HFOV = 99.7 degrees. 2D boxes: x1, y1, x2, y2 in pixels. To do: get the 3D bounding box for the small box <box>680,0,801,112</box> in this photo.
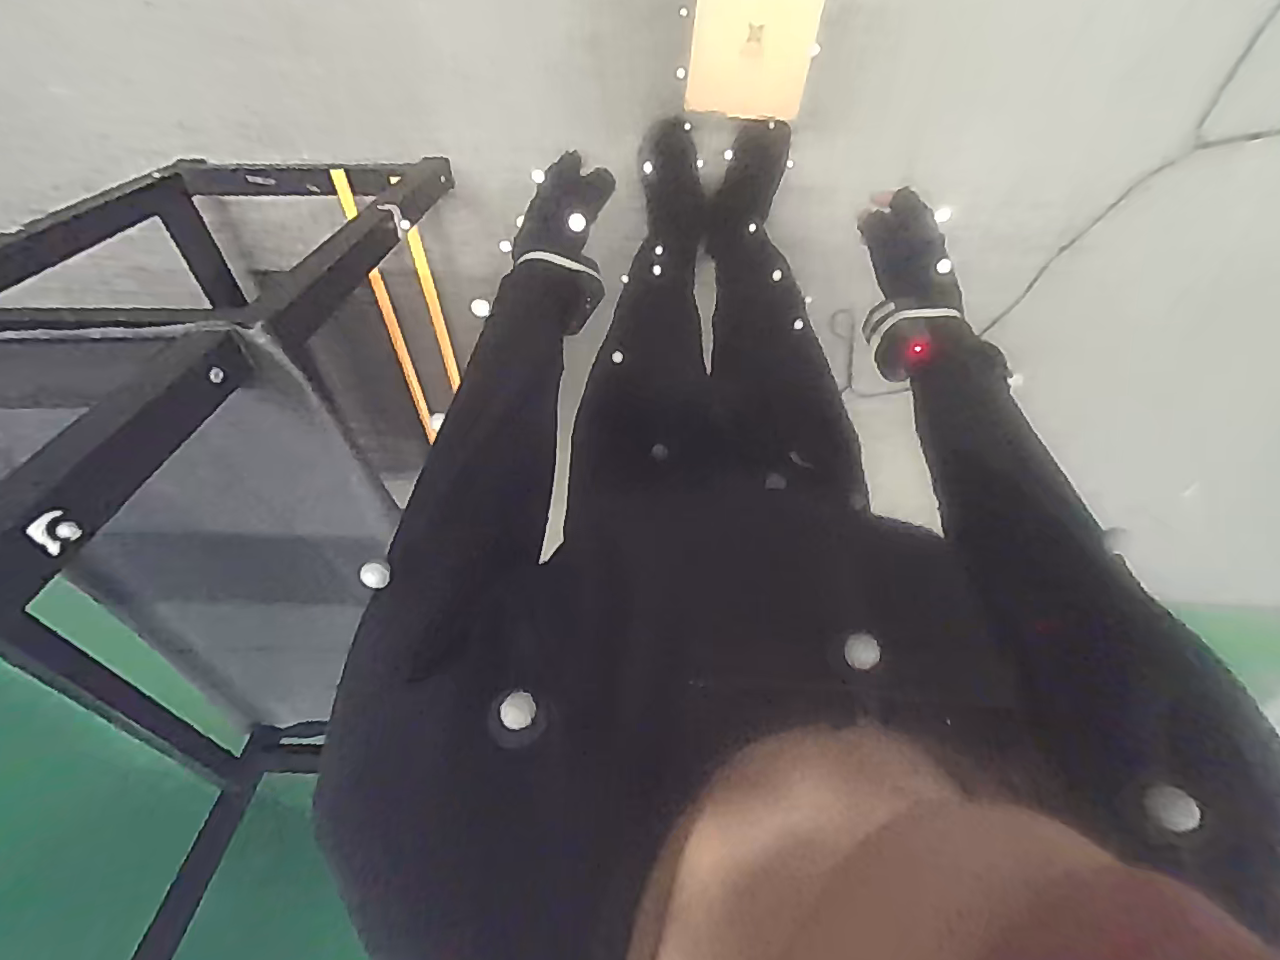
[{"bbox_3d":[0.160,-0.746,0.907,0.168,0.176,0.179,6,134,-2],"label":"small box"}]
